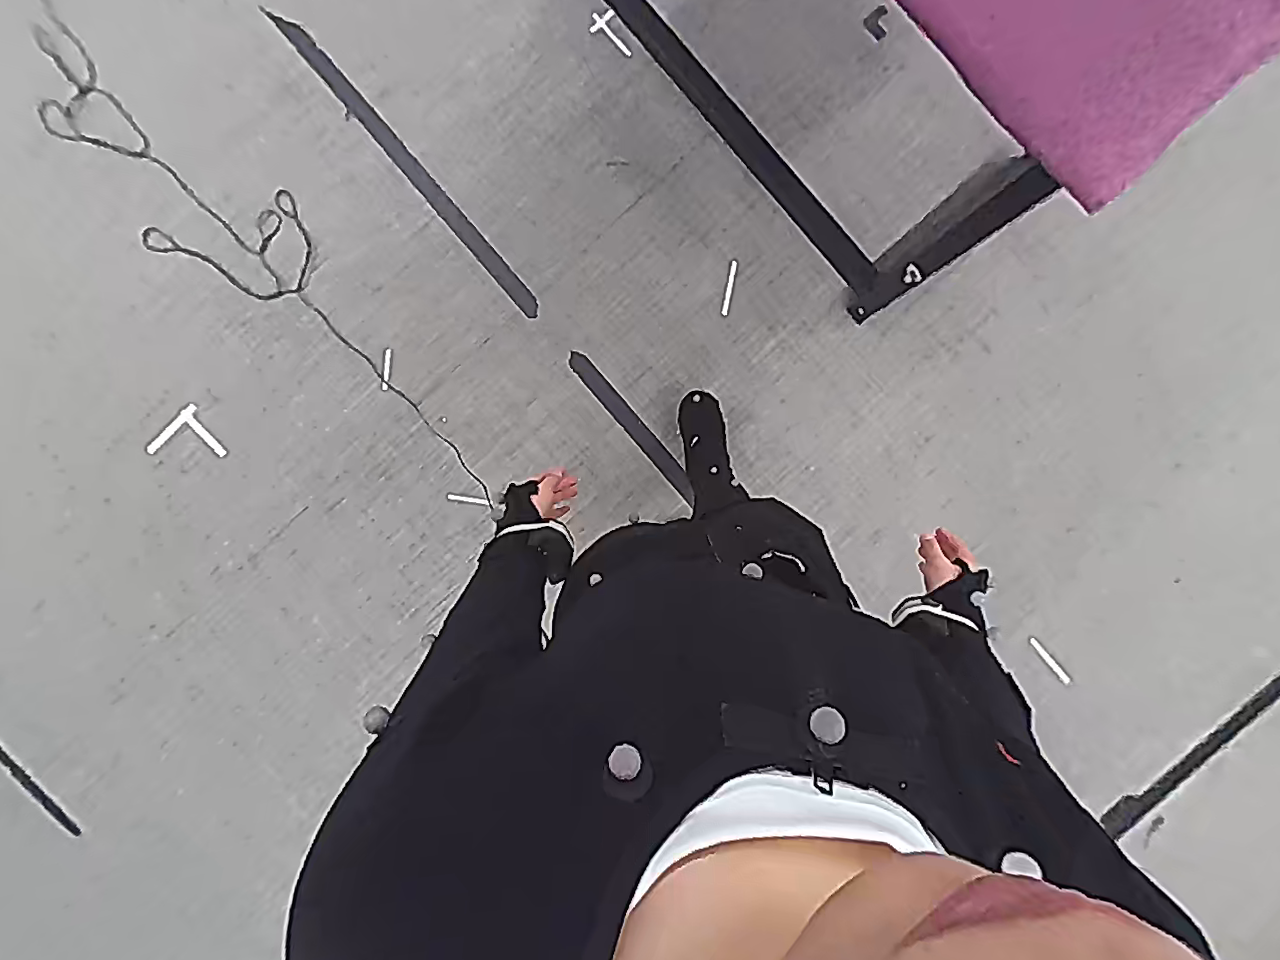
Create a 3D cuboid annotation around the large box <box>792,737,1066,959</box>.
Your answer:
[{"bbox_3d":[0.630,0.908,1.255,0.320,0.320,0.408,-43,90,2],"label":"large box"}]
